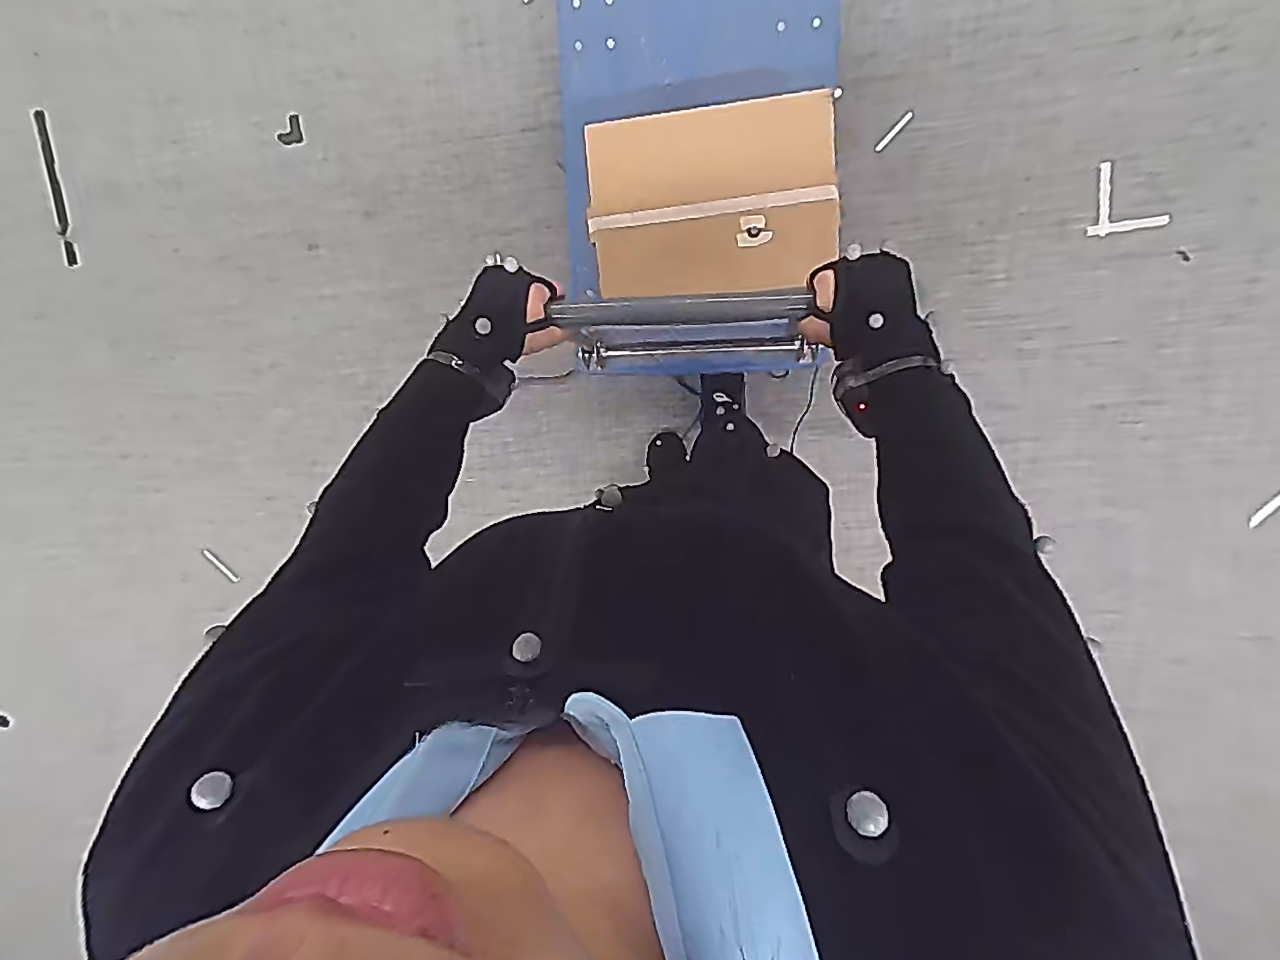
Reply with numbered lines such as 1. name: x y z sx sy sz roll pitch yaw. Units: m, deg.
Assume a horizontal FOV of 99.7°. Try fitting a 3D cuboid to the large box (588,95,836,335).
1. large box: 0.135 -0.479 1.064 0.408 0.320 0.320 -5 100 6
